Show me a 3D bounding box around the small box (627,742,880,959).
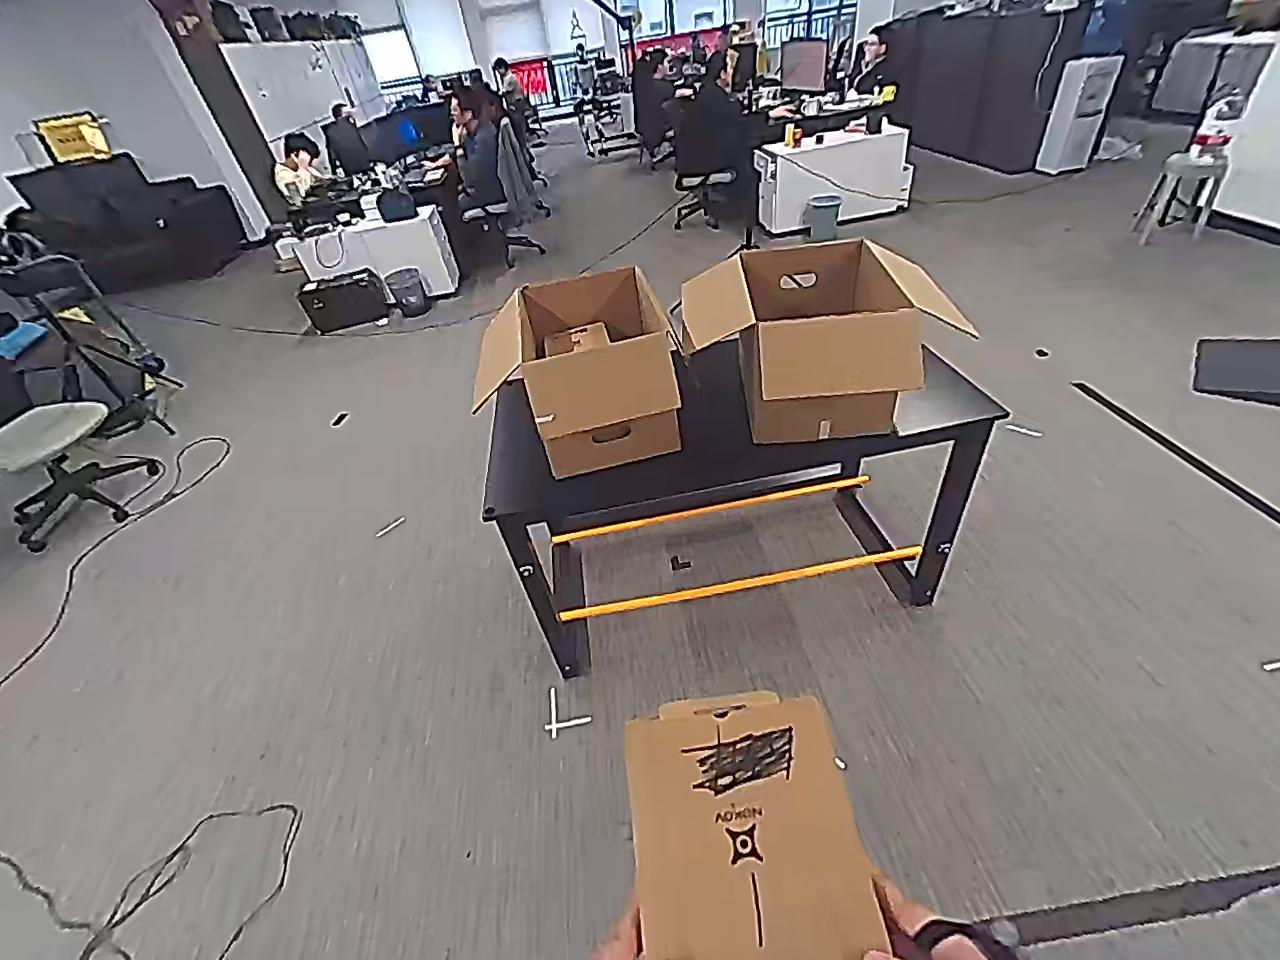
[{"bbox_3d":[0.081,0.342,0.457,0.168,0.176,0.179,-7,52,0],"label":"small box"}]
